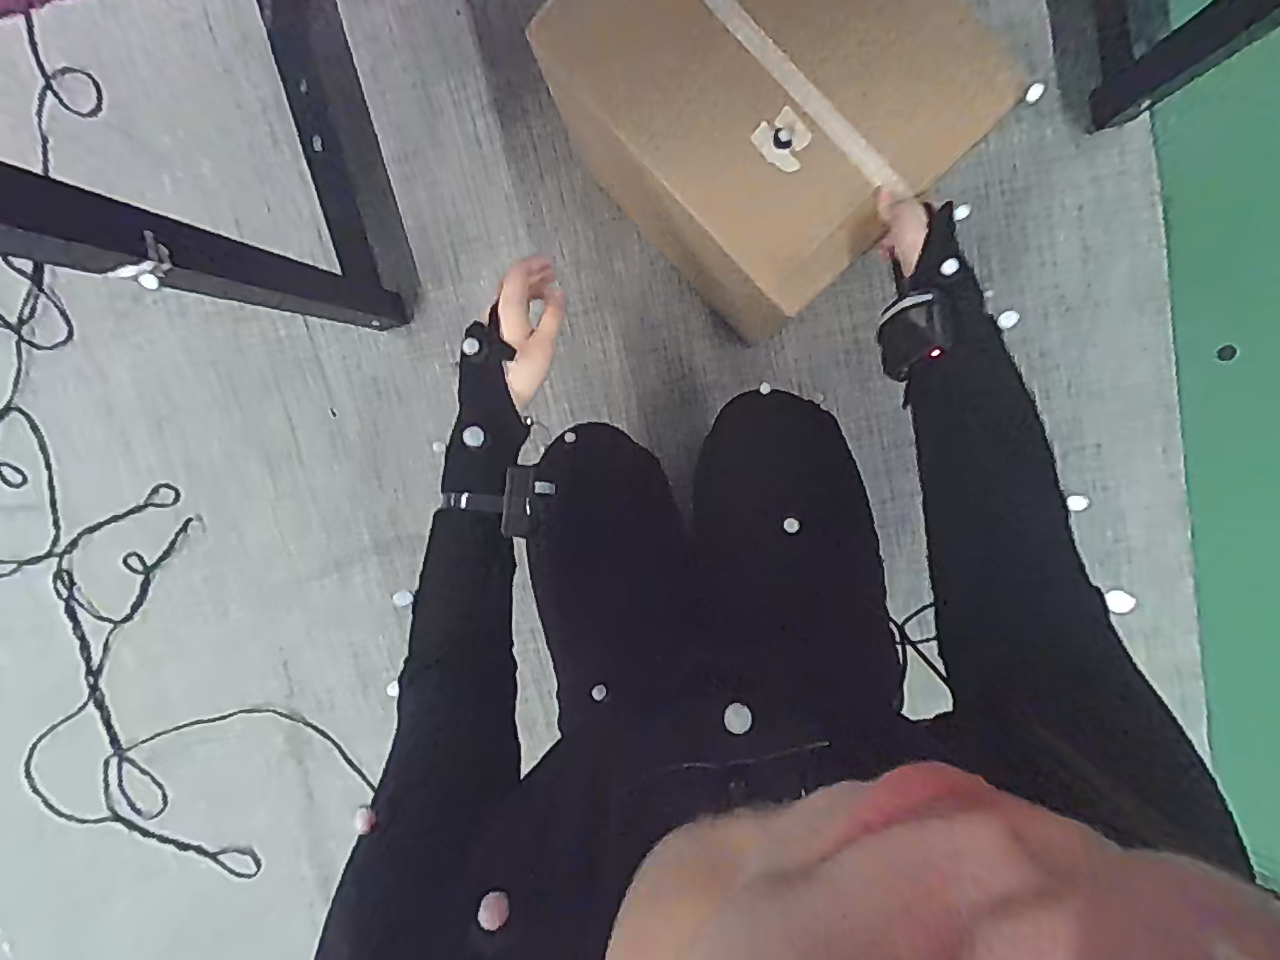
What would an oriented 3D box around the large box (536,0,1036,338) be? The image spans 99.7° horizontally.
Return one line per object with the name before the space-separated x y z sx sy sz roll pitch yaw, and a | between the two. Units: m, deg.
large box | 0.147 -0.441 0.682 0.408 0.320 0.320 43 100 -3
